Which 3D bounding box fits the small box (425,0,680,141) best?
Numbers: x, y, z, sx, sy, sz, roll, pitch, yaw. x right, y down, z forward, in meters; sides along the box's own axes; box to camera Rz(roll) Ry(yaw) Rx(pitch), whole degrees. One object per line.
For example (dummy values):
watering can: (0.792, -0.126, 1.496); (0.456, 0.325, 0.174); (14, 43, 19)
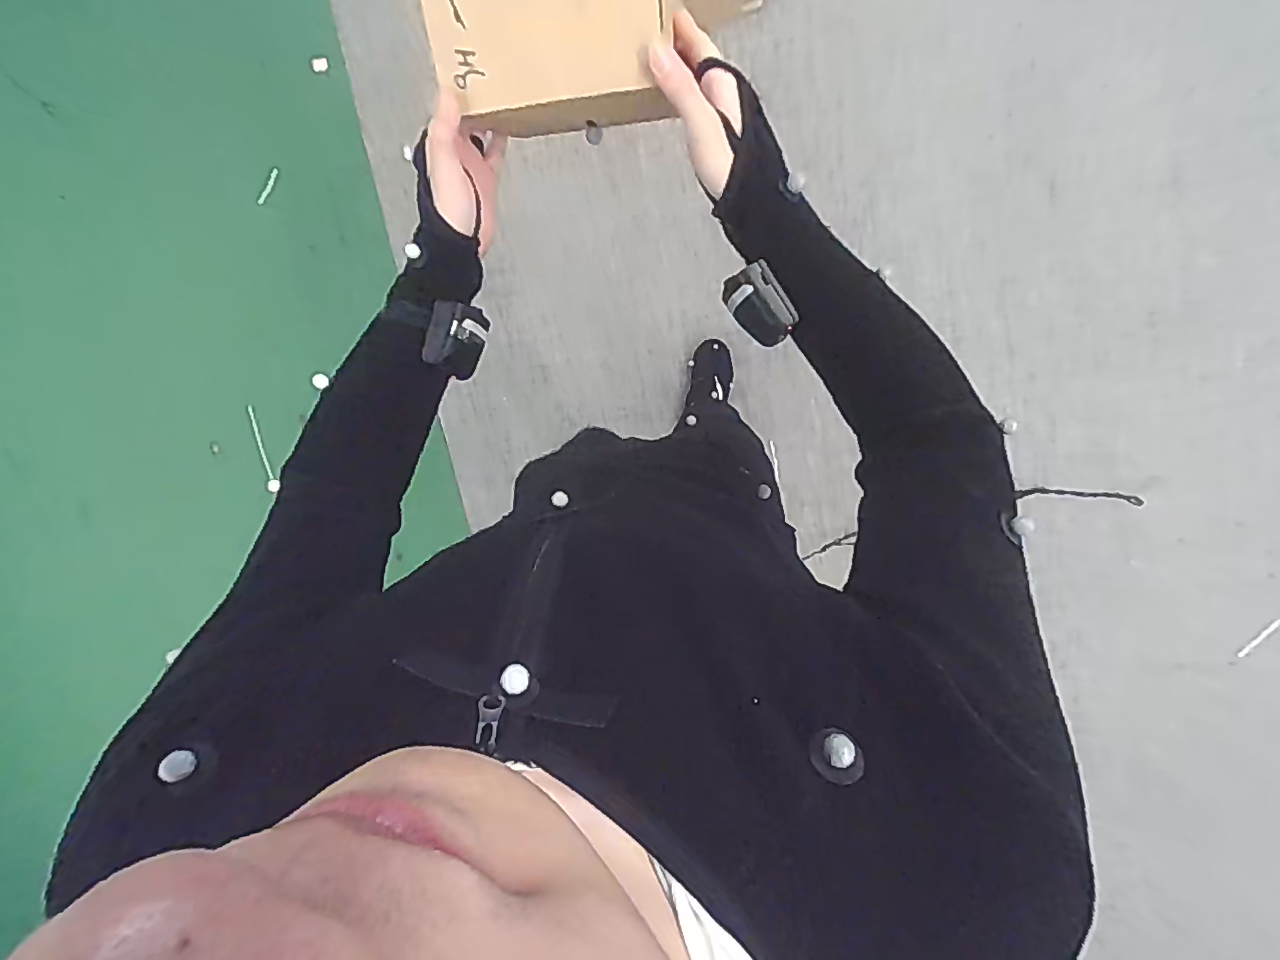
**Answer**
small box: (-0.059, -0.387, 0.438); (0.179, 0.176, 0.168); (-1, 115, 9)
